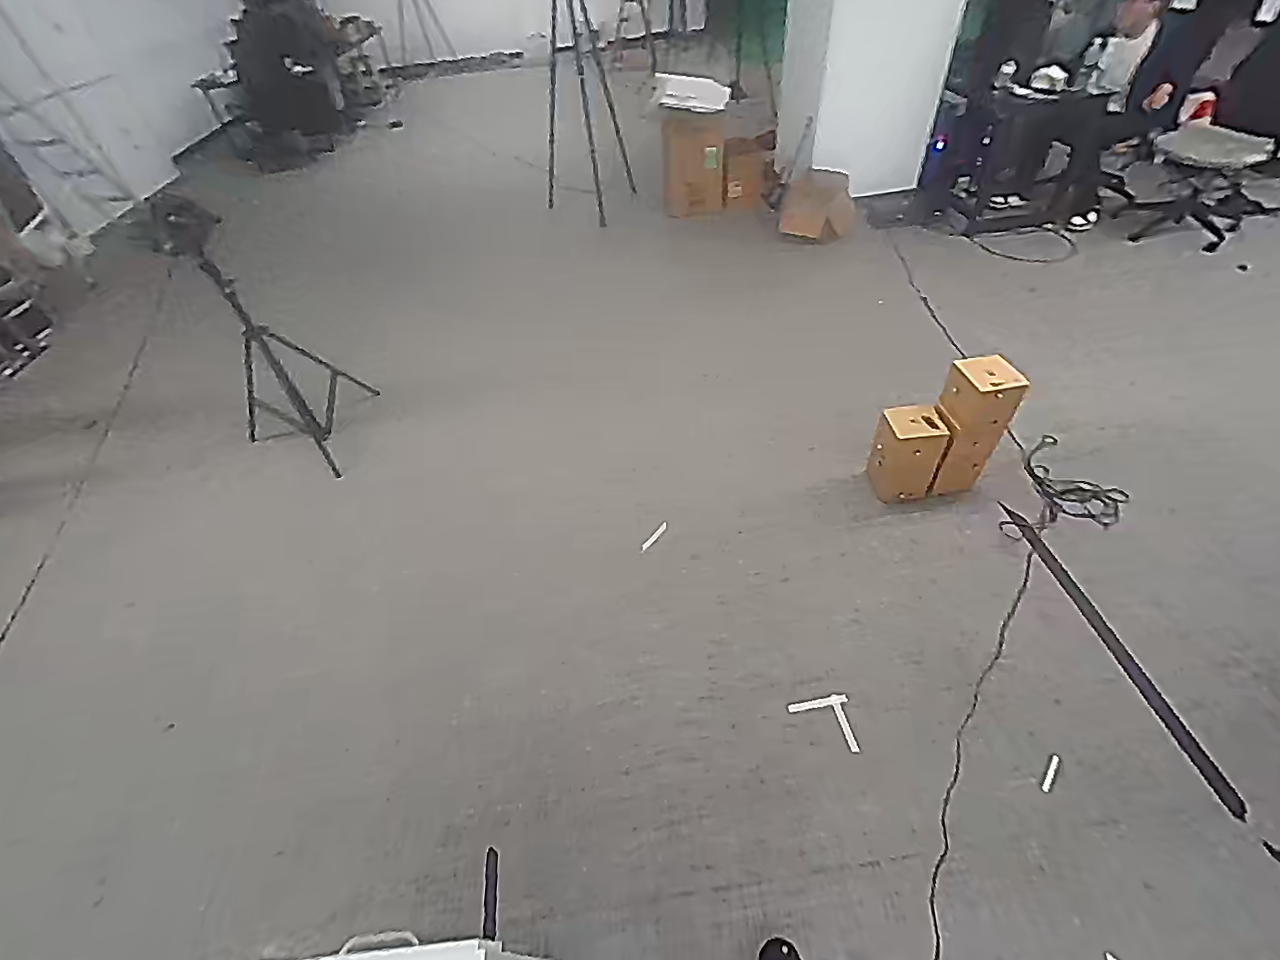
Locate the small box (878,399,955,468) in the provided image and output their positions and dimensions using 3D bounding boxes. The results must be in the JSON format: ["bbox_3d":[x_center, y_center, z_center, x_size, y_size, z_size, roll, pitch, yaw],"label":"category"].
[{"bbox_3d":[0.970,-0.162,1.912,0.179,0.176,0.168,-7,46,4],"label":"small box"}]

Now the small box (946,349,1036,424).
[{"bbox_3d":[1.154,-0.310,1.798,0.168,0.176,0.179,-10,45,0],"label":"small box"}]
